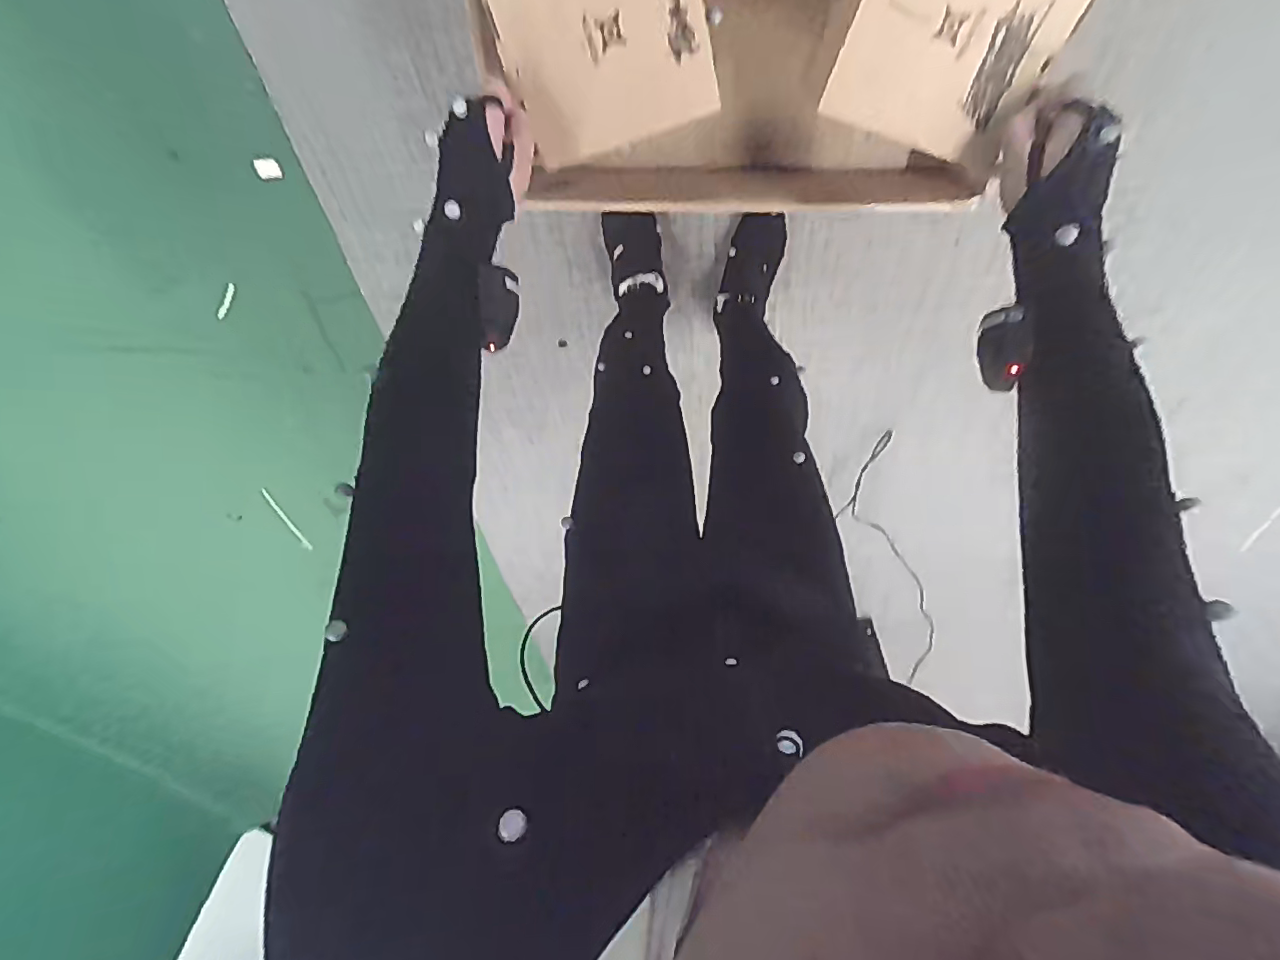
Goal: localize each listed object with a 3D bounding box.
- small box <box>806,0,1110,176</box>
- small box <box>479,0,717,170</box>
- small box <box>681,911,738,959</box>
[{"bbox_3d":[0.274,-0.413,0.497,0.179,0.176,0.168,16,132,-5],"label":"small box"},{"bbox_3d":[-0.028,-0.417,0.509,0.179,0.176,0.168,-11,126,14],"label":"small box"},{"bbox_3d":[0.214,1.437,1.652,0.168,0.176,0.179,-4,134,7],"label":"small box"}]
